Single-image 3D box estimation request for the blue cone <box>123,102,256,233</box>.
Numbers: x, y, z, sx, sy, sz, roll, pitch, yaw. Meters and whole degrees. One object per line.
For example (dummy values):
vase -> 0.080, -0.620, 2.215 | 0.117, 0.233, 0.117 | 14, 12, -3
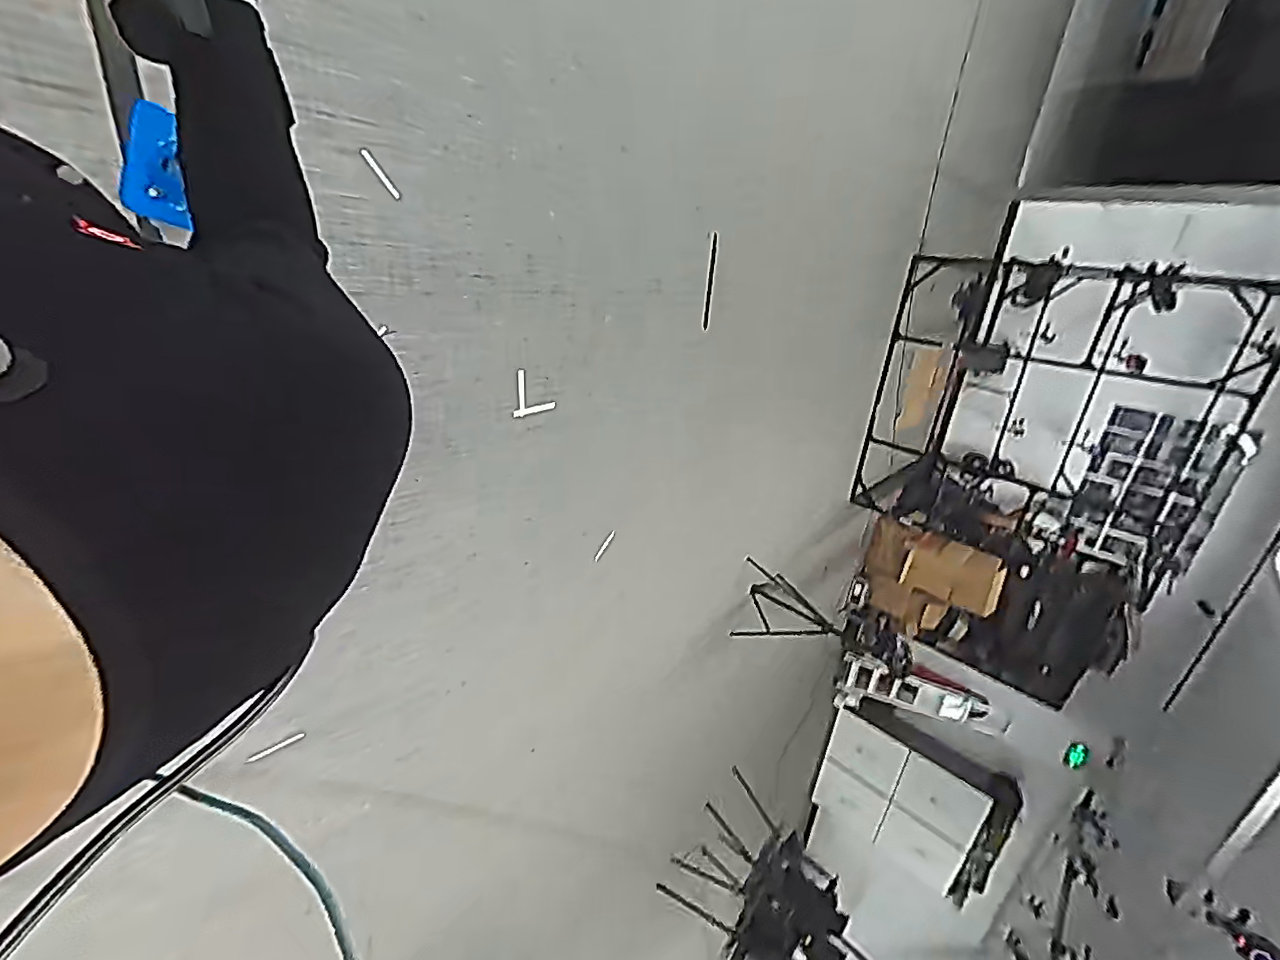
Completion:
blue cone -> -0.765, -0.554, 0.968 | 0.193, 0.380, 0.192 | 10, 101, -52
